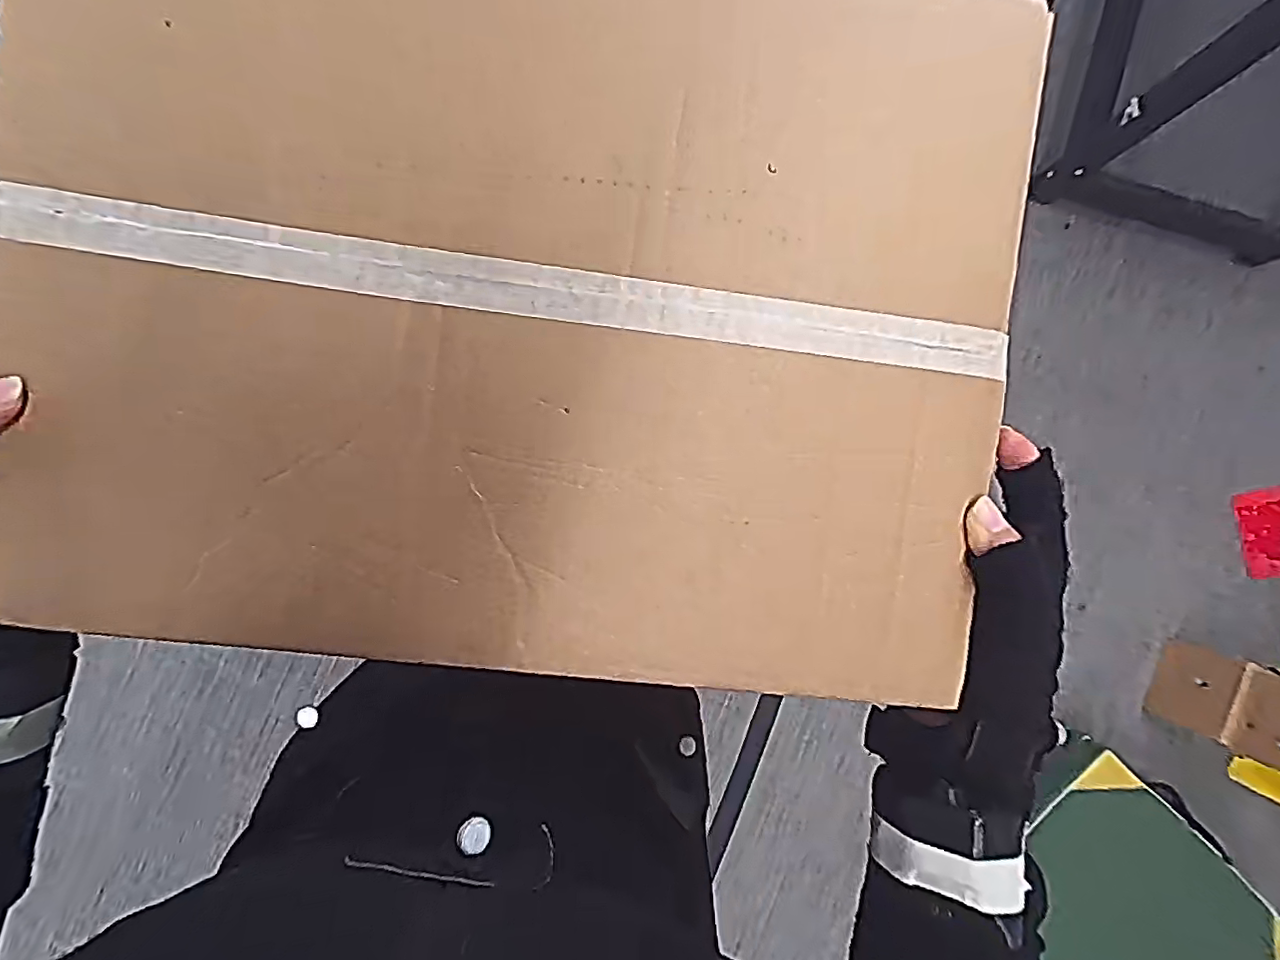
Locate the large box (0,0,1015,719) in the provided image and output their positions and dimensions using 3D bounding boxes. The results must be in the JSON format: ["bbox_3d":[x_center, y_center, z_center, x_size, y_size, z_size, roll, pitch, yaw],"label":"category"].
[{"bbox_3d":[-0.055,-0.067,0.377,0.408,0.320,0.320,7,91,-5],"label":"large box"}]
